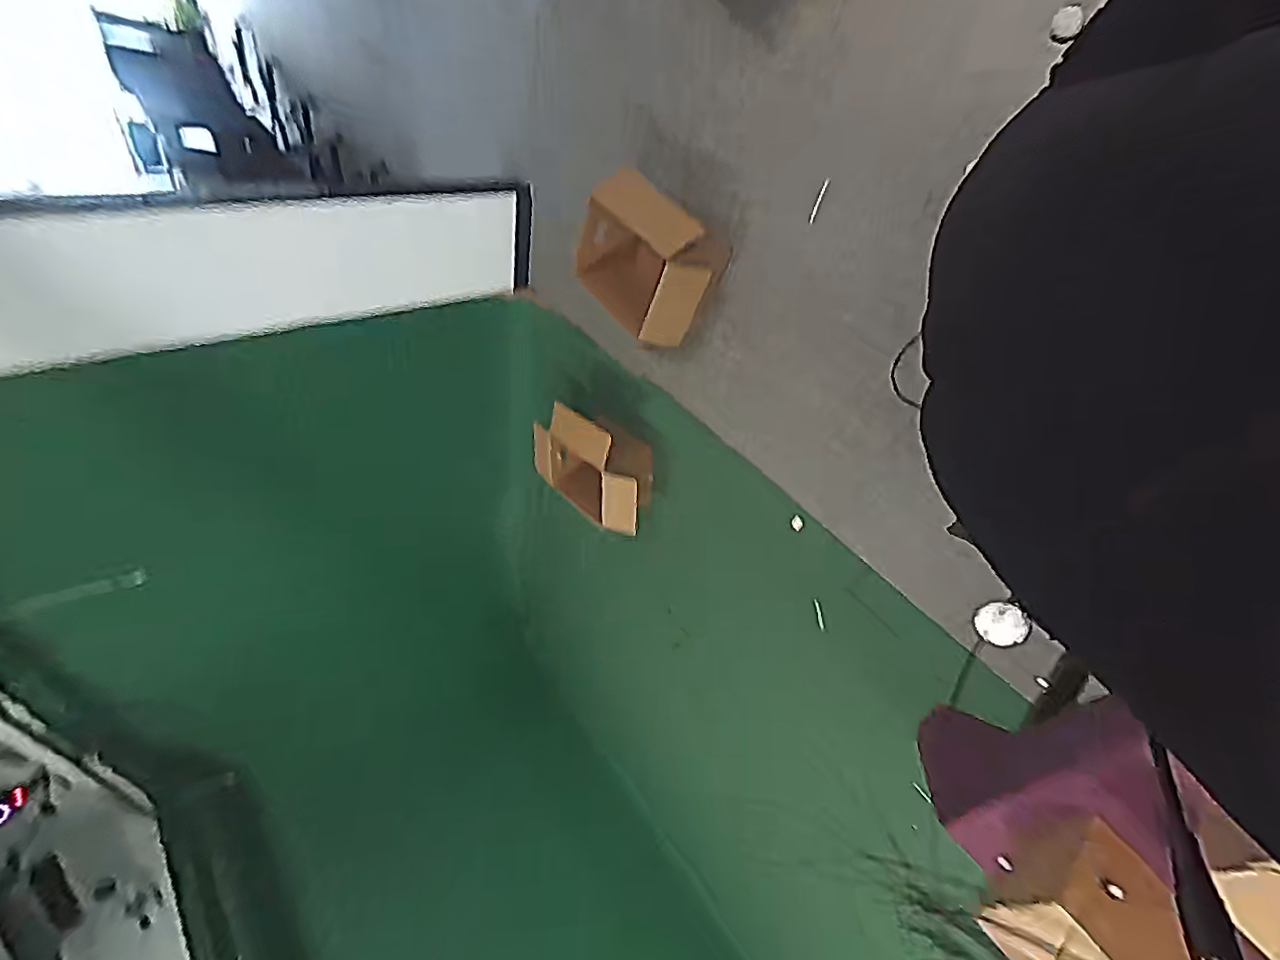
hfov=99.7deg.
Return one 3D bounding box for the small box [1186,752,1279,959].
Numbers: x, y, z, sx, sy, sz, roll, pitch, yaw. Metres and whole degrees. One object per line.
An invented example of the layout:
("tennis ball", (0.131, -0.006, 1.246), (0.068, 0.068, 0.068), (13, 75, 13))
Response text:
("small box", (0.688, 0.381, 0.504), (0.179, 0.176, 0.168), (49, 141, 22))
